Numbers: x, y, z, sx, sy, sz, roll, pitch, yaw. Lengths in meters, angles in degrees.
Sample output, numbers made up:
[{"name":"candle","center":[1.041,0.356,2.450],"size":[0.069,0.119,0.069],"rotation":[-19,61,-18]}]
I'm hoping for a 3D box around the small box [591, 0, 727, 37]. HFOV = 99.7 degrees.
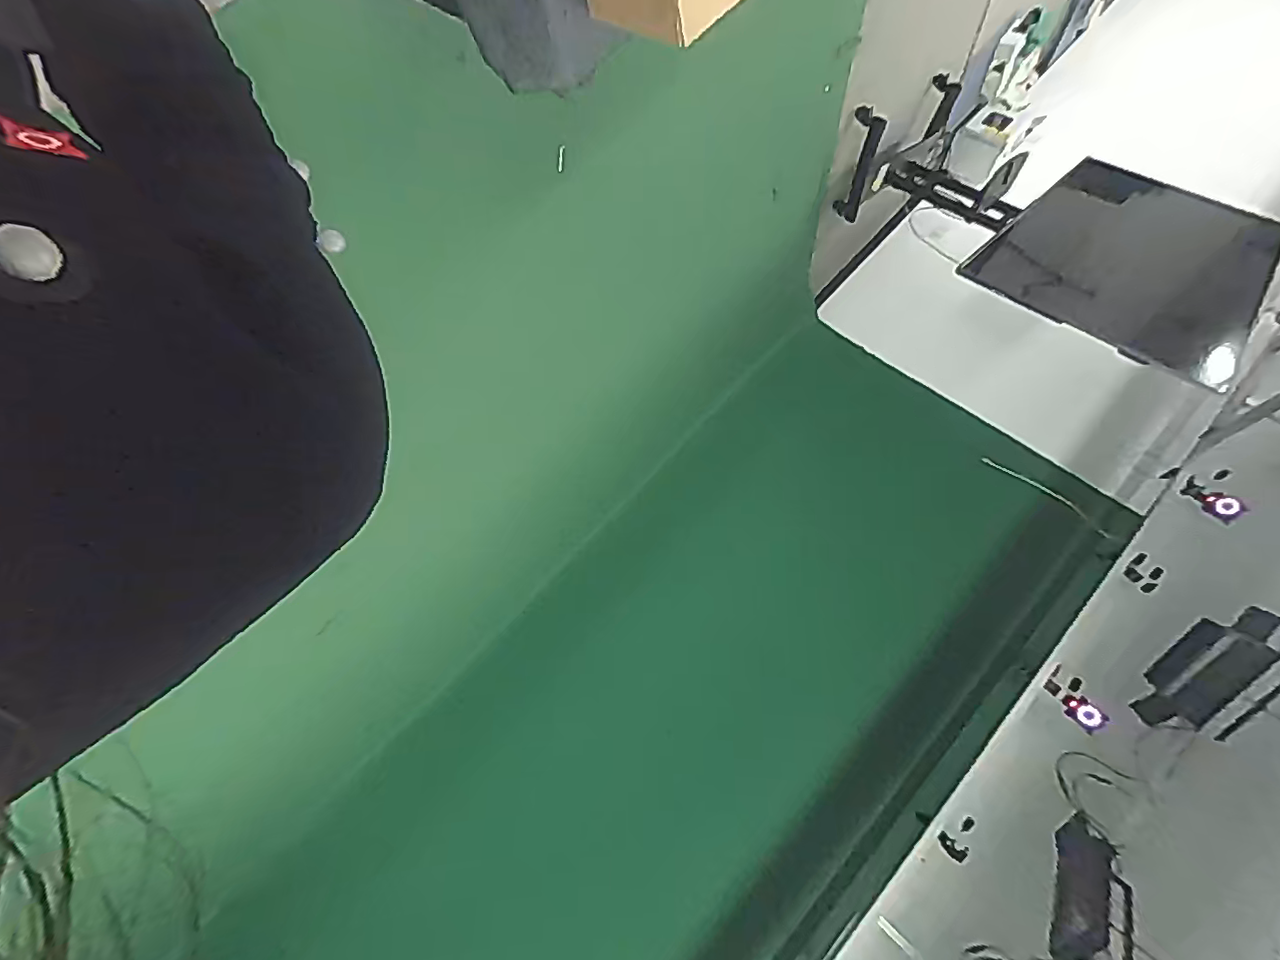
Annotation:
[{"name":"small box","center":[0.031,-0.677,0.637],"size":[0.179,0.176,0.168],"rotation":[-47,157,-11]}]
